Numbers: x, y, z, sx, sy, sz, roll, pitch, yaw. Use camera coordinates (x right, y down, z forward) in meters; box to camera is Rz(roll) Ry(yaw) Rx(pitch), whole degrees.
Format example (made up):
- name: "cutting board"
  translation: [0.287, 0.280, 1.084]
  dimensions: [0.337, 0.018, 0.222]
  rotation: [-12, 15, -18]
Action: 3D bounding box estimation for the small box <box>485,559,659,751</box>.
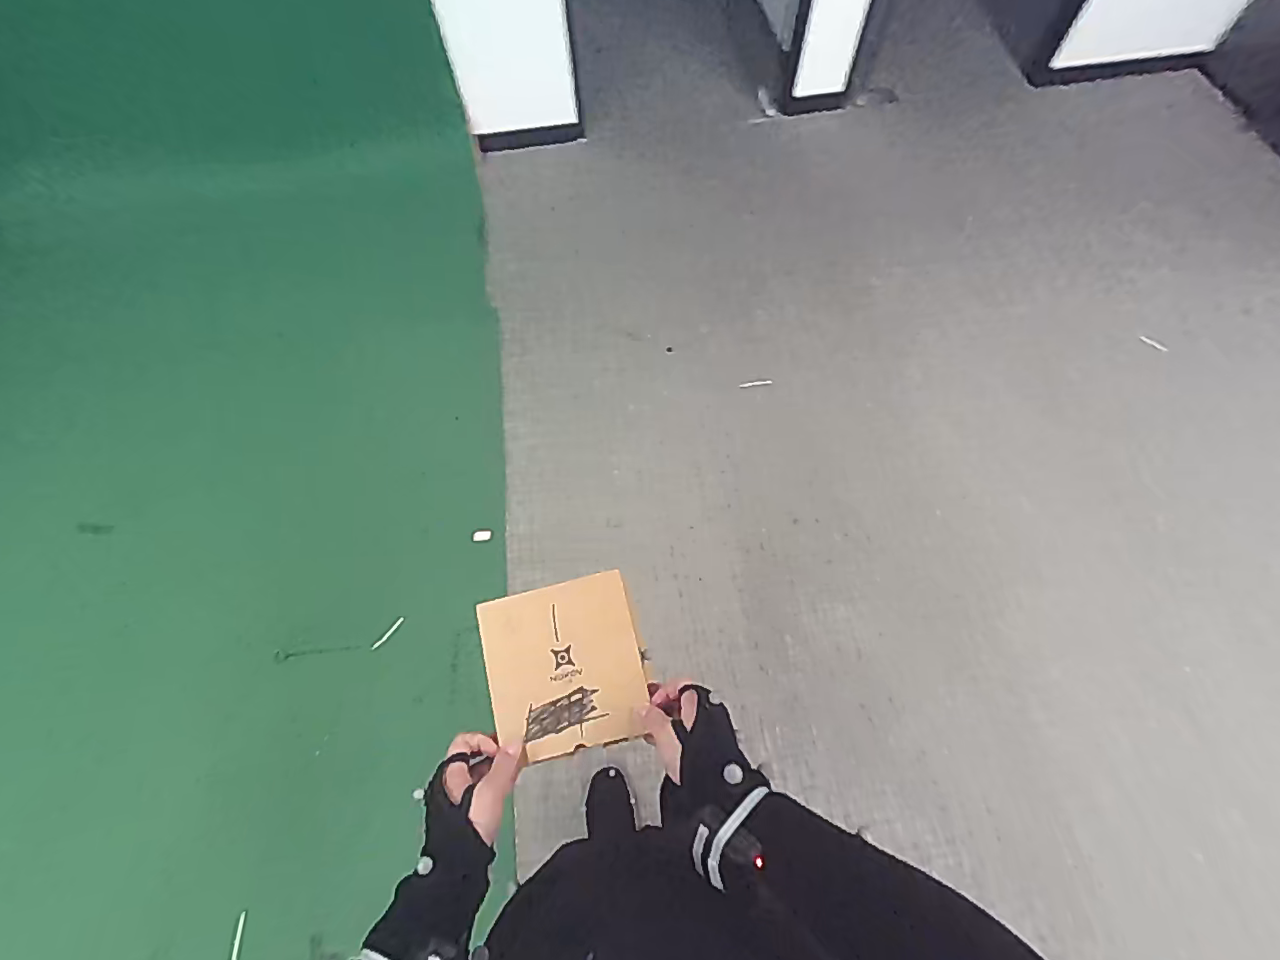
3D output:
- name: "small box"
  translation: [-0.073, 0.204, 0.657]
  dimensions: [0.168, 0.176, 0.179]
  rotation: [-12, 74, 0]
